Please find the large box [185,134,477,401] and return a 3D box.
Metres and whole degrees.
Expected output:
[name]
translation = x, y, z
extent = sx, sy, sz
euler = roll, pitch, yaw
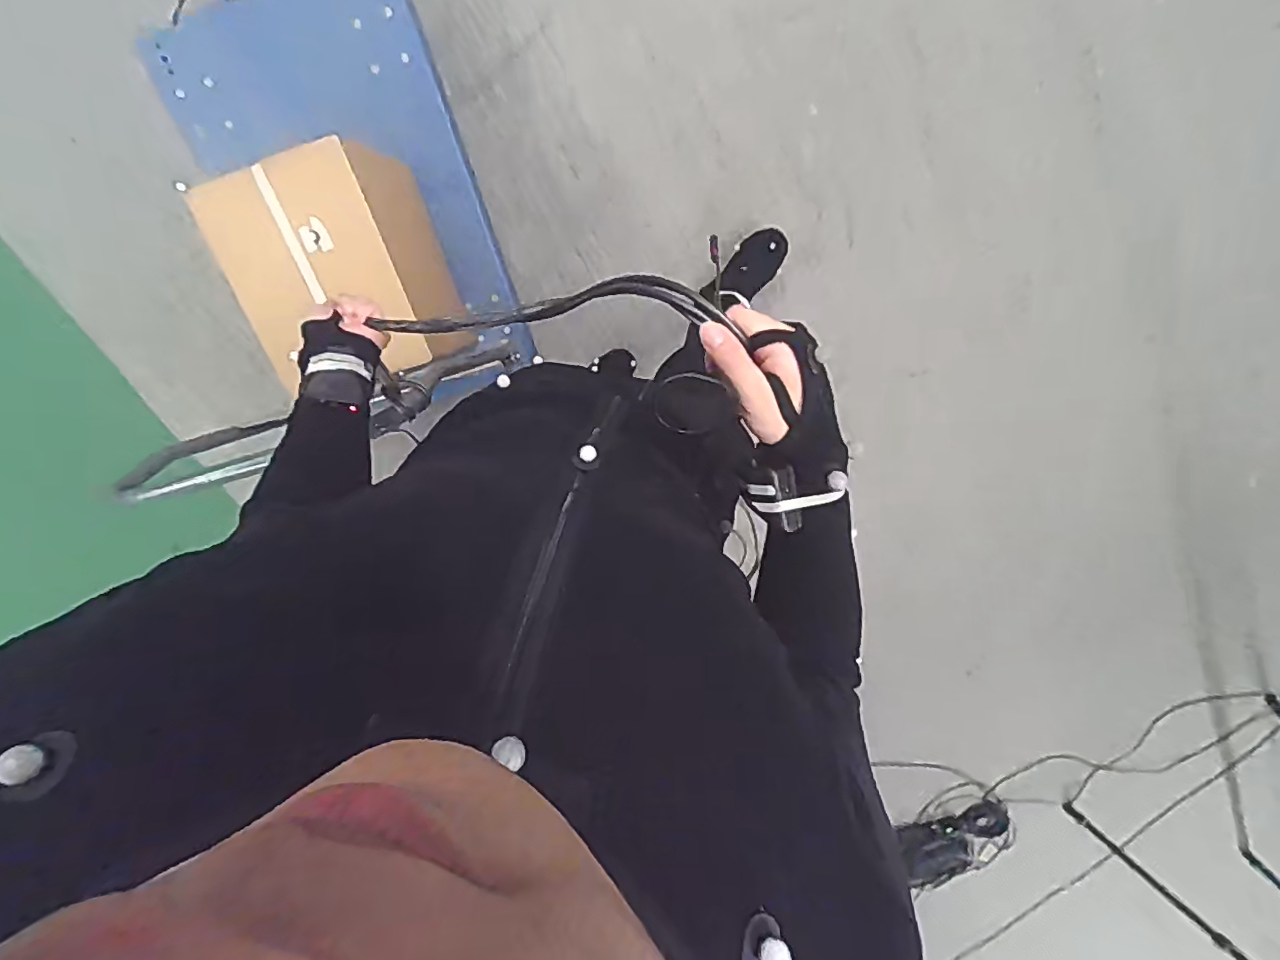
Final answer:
[large box]
translation = -0.601, -0.426, 1.142
extent = 0.320, 0.320, 0.408
euler = -16, 109, 6
